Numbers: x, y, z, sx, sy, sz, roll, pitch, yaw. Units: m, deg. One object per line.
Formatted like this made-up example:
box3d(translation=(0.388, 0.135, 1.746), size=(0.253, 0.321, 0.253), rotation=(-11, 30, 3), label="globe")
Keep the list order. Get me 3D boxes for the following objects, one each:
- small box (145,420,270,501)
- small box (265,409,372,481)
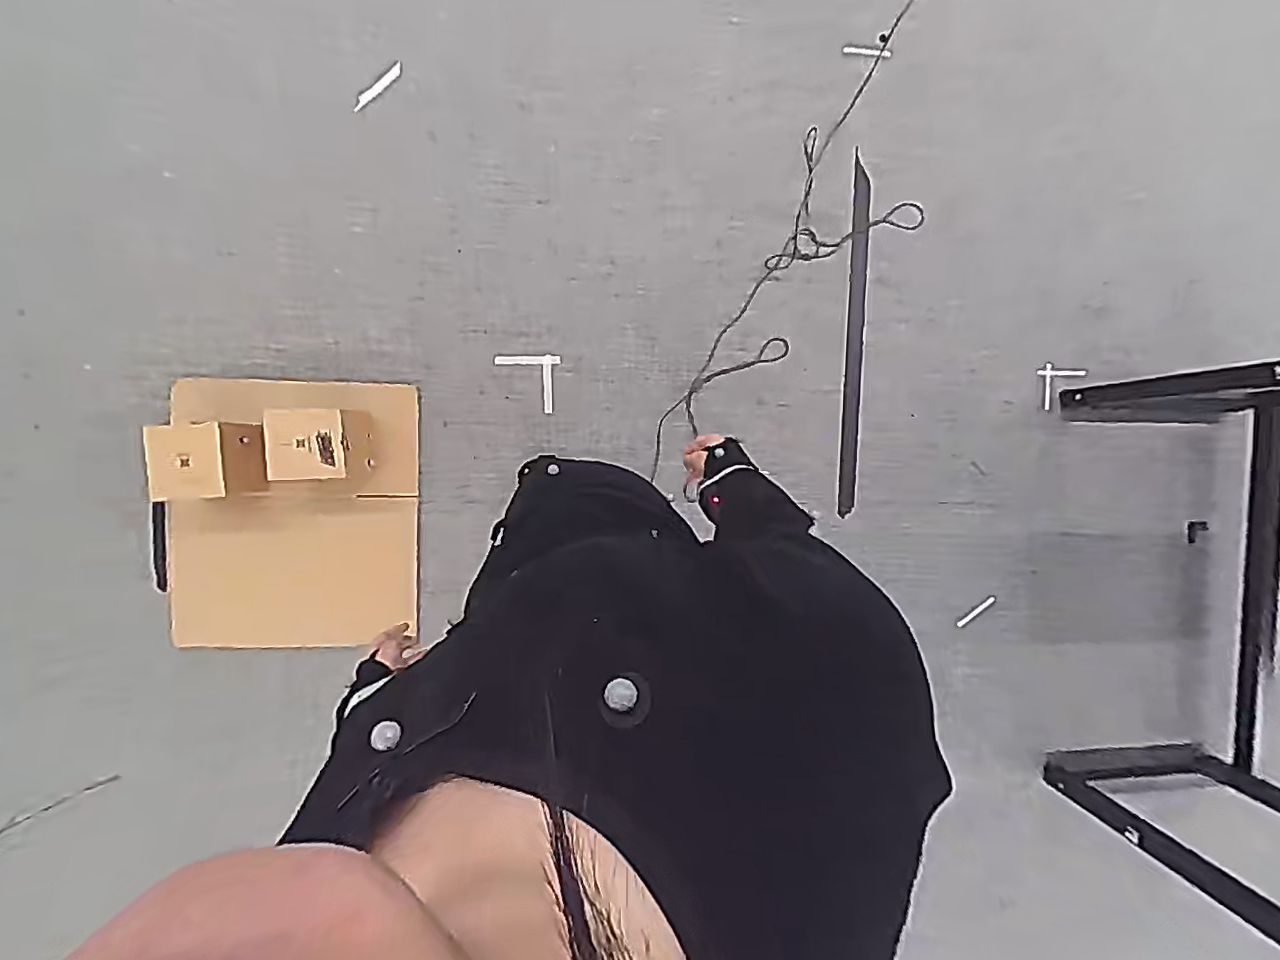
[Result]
box3d(translation=(-1.030, -0.046, 1.303), size=(0.168, 0.176, 0.179), rotation=(-5, 94, -4), label="small box")
box3d(translation=(-0.774, -0.086, 1.323), size=(0.179, 0.176, 0.168), rotation=(-3, 93, -5), label="small box")
